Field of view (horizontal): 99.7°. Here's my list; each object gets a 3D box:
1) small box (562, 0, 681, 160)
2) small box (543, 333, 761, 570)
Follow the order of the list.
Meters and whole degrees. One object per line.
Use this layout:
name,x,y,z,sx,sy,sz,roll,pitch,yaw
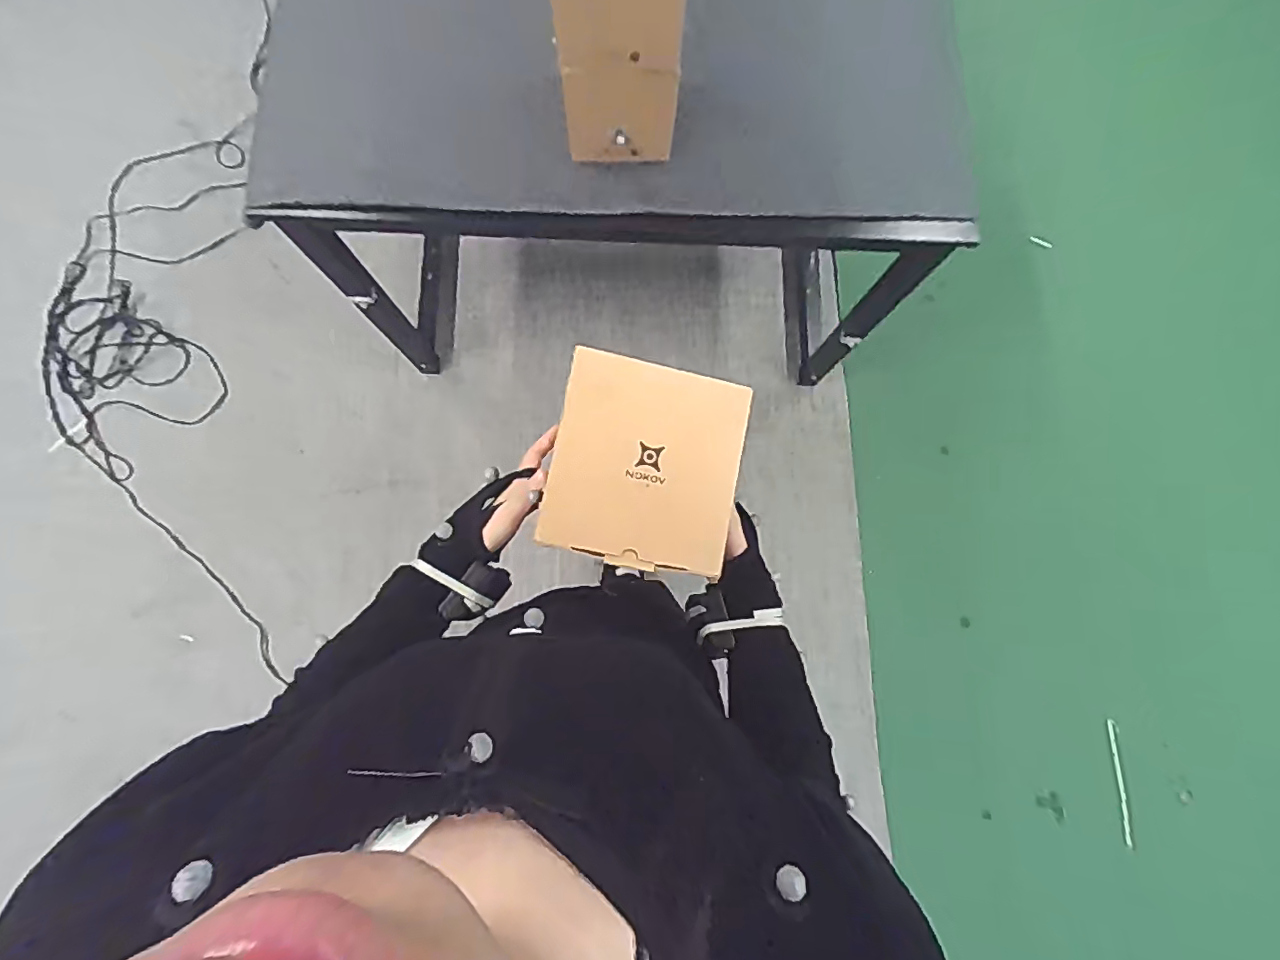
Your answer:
small box,-0.032,-0.630,0.829,0.168,0.176,0.179,-3,79,-3
small box,0.000,-0.017,0.533,0.168,0.176,0.179,11,84,-9
